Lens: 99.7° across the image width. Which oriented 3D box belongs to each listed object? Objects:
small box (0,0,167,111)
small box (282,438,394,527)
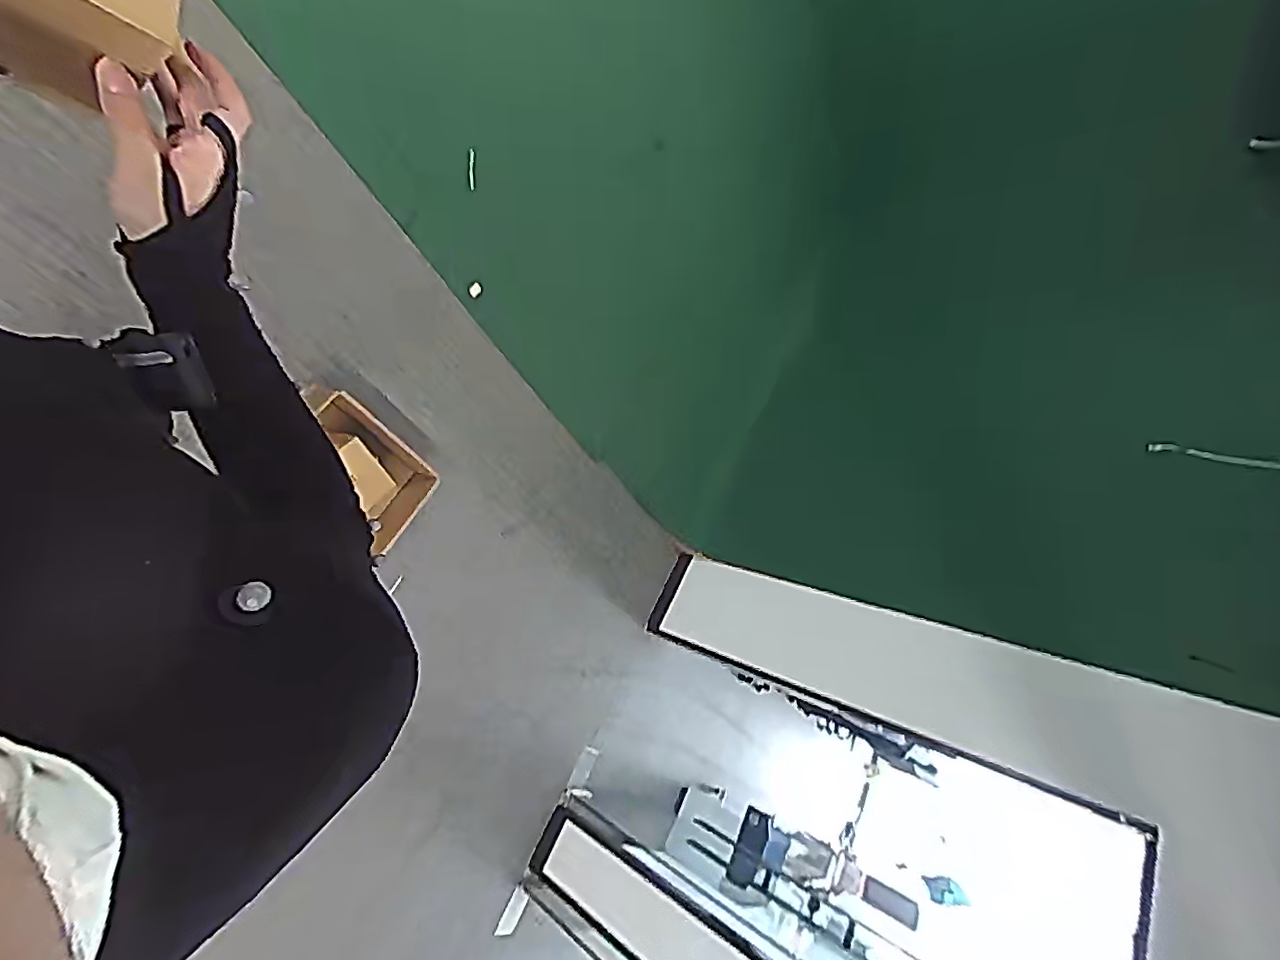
[{"bbox_3d":[-0.385,-0.354,0.301,0.168,0.176,0.179,6,90,-56],"label":"small box"},{"bbox_3d":[-0.816,-0.001,1.458,0.168,0.176,0.179,-50,135,-31],"label":"small box"}]
